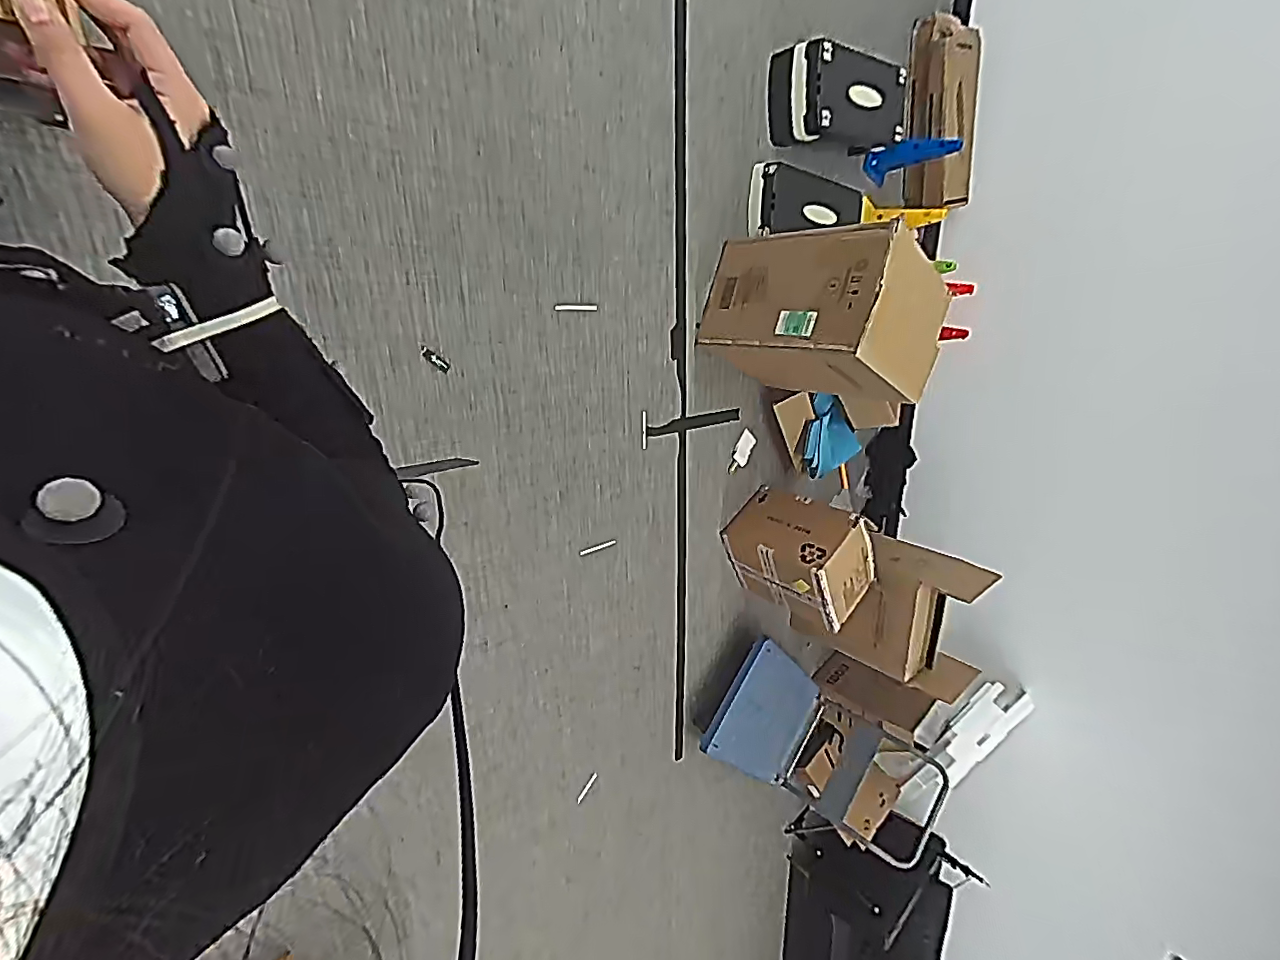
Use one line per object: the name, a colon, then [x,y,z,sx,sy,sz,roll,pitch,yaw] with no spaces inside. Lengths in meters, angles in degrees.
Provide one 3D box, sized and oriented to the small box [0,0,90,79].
small box: [-0.401,-0.316,0.250,0.179,0.176,0.168,-12,117,-38]
